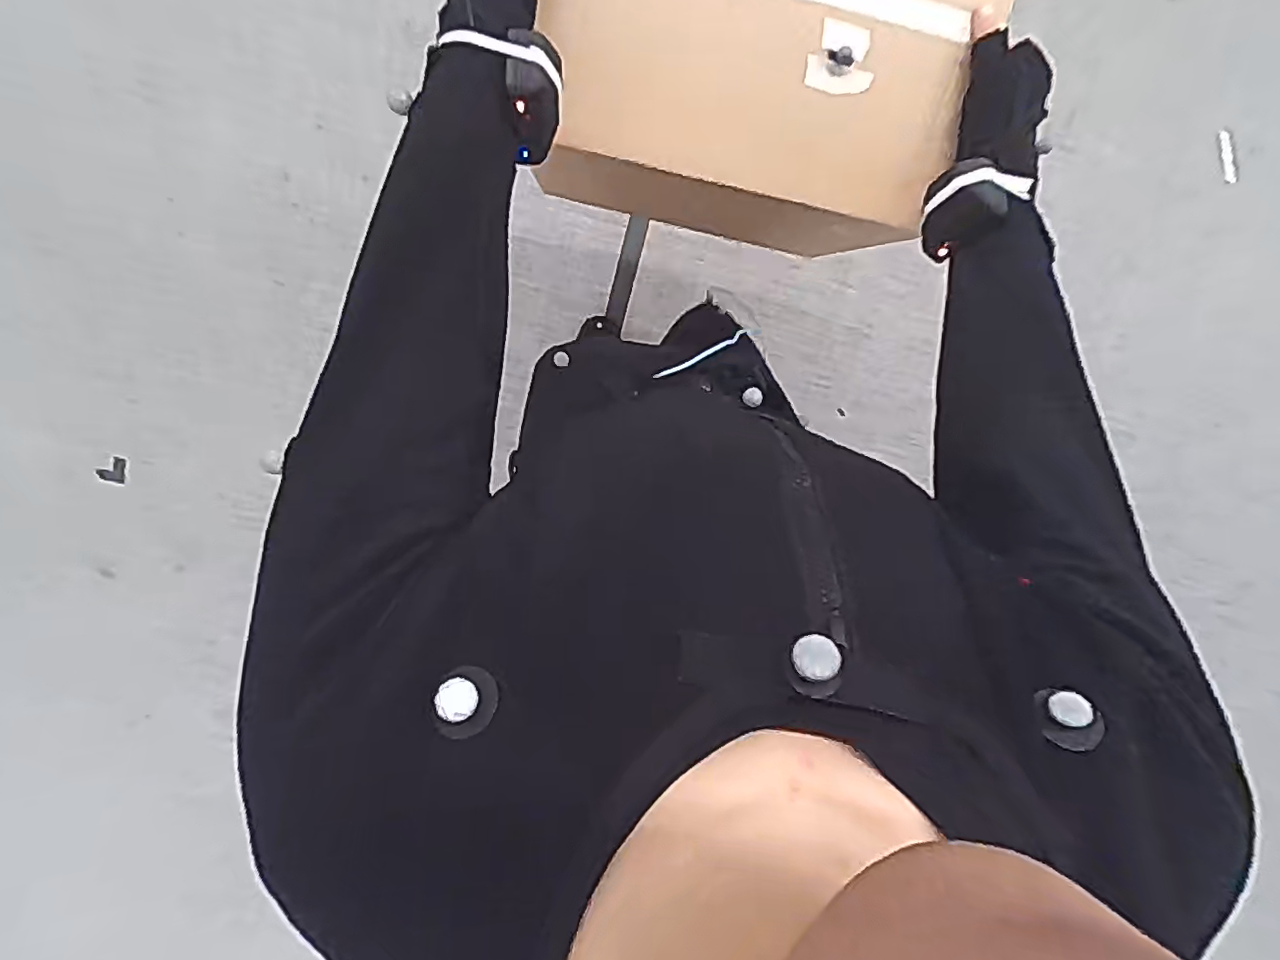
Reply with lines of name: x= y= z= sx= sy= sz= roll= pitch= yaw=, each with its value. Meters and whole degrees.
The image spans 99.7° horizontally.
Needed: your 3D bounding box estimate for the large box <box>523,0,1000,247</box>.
large box: x=0.101 y=-0.471 z=0.598 sx=0.408 sy=0.320 sz=0.320 roll=9 pitch=109 yaw=-9
